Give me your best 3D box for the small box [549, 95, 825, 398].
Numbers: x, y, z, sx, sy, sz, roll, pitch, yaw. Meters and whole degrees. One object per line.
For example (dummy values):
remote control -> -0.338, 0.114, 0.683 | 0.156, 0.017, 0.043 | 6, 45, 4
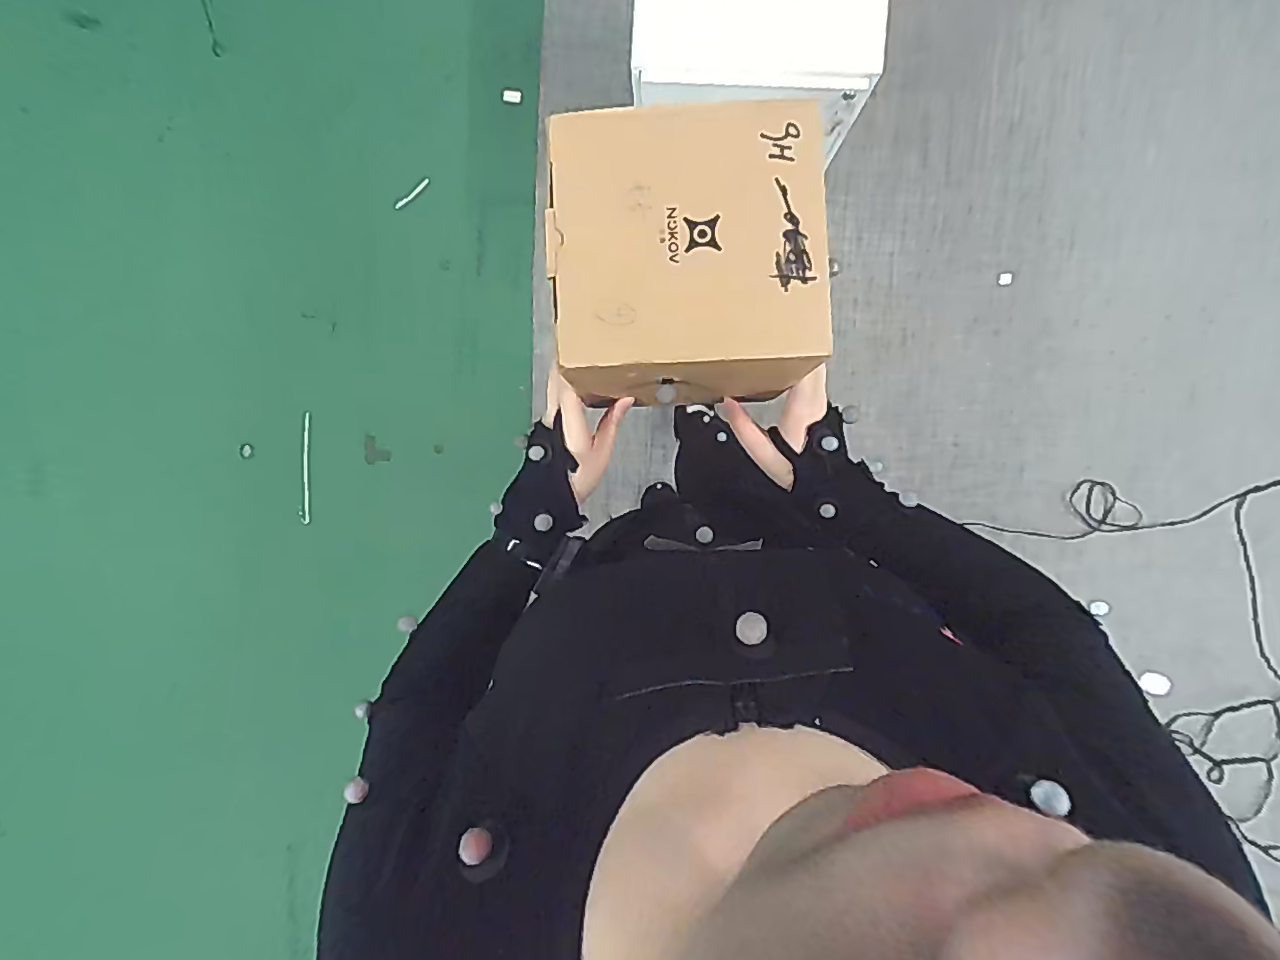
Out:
small box -> 0.032, -0.161, 0.428 | 0.179, 0.176, 0.168 | -2, 89, 1
